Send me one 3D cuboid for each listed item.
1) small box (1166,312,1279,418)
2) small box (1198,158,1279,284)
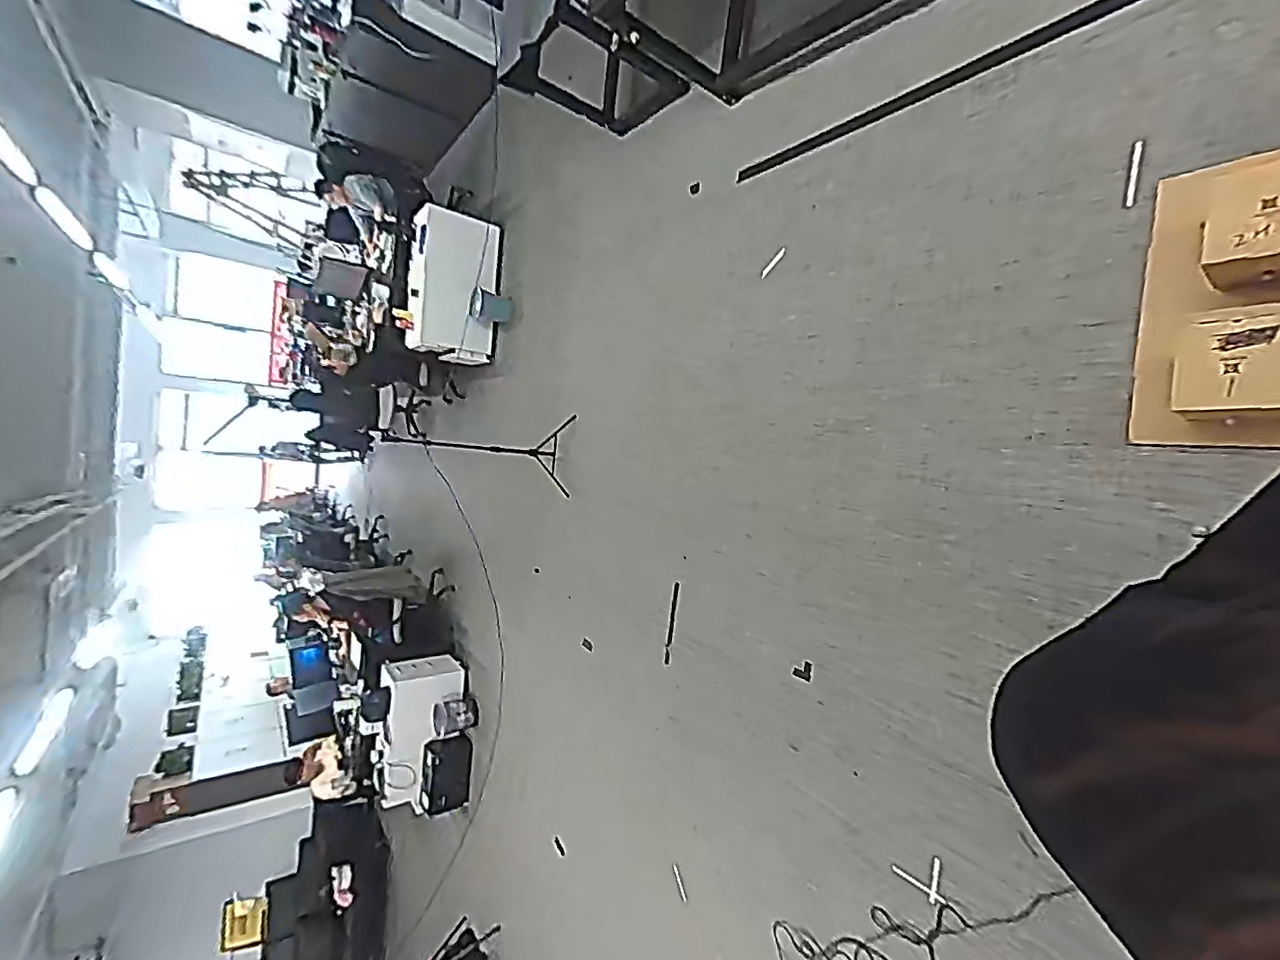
[{"bbox_3d":[1.184,-0.220,1.075,0.168,0.176,0.179,7,94,53],"label":"small box"},{"bbox_3d":[1.221,-0.502,1.047,0.168,0.176,0.179,8,94,53],"label":"small box"}]
